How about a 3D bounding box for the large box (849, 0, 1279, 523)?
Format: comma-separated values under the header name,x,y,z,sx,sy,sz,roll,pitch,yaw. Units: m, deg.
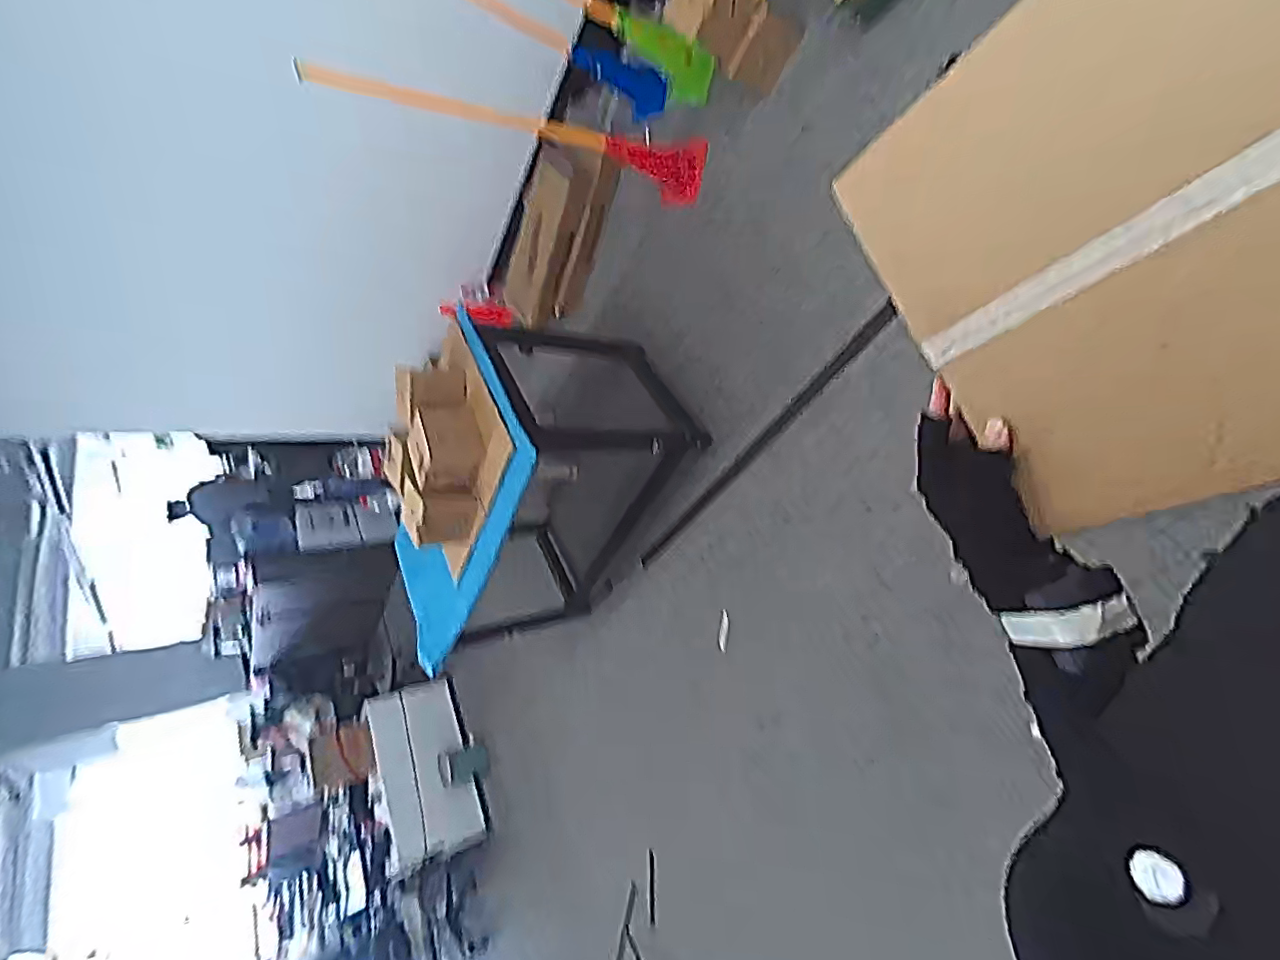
name,x,y,z,sx,sy,sz,roll,pitch,yaw
large box,0.441,-0.213,0.359,0.408,0.320,0.320,-34,81,51
